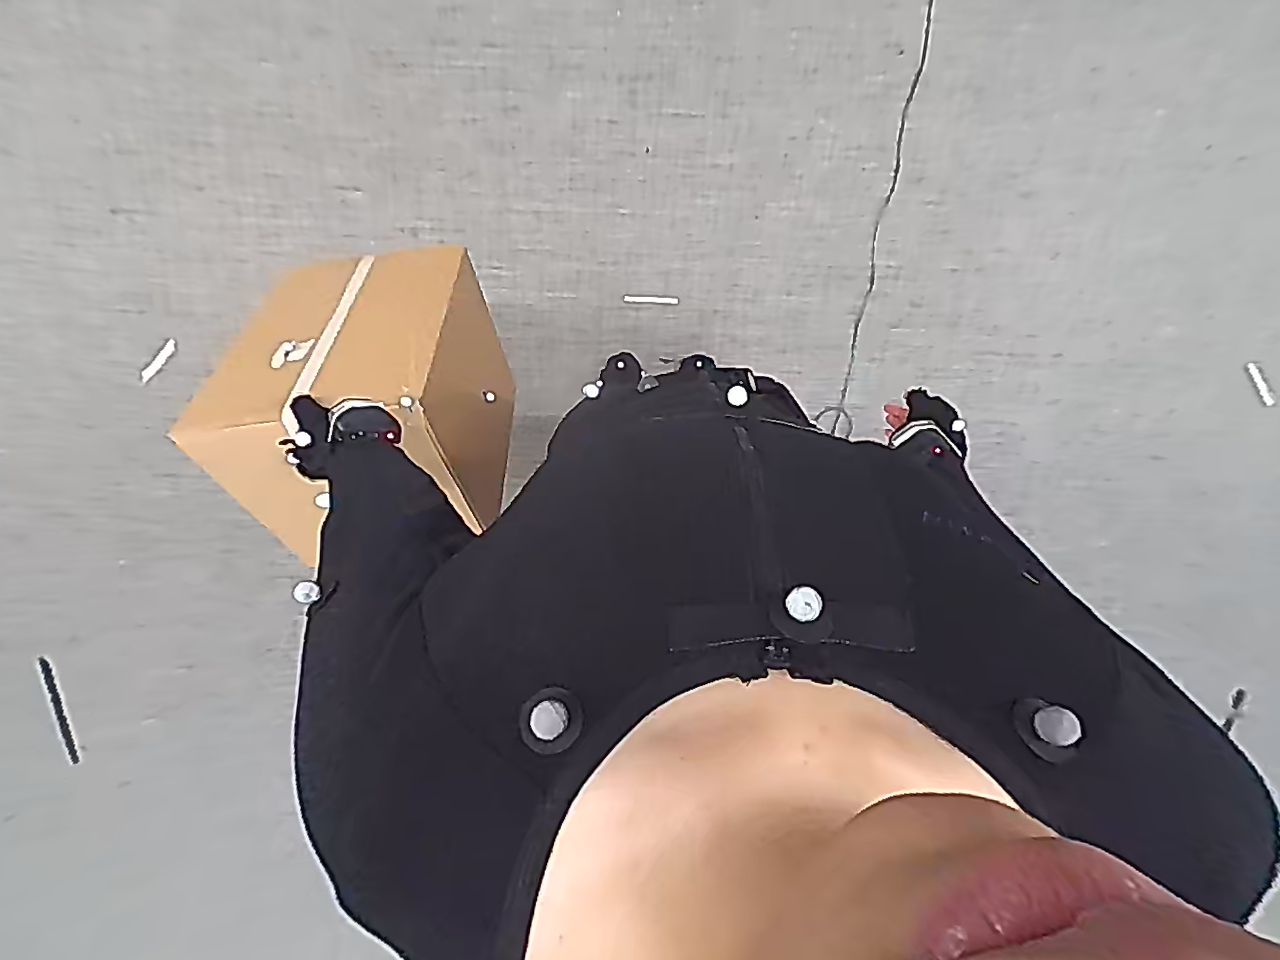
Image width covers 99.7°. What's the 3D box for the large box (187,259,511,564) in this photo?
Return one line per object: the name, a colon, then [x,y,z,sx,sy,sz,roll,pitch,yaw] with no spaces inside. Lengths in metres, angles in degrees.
large box: [-0.420,-0.118,0.913,0.320,0.408,0.320,-7,139,3]
